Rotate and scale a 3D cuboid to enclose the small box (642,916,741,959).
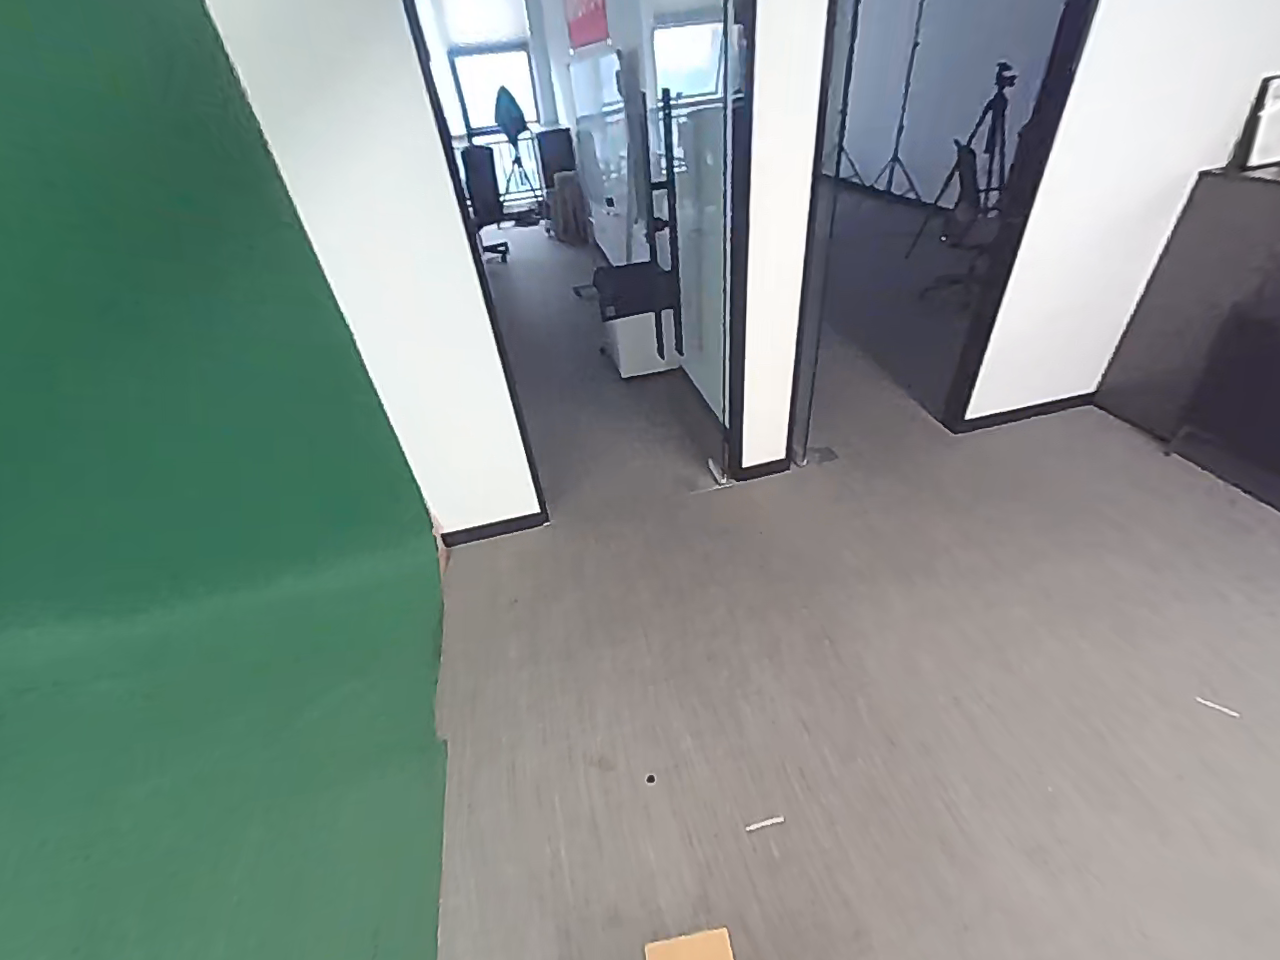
[{"bbox_3d":[0.087,0.991,1.037,0.179,0.176,0.168,11,43,21],"label":"small box"}]
